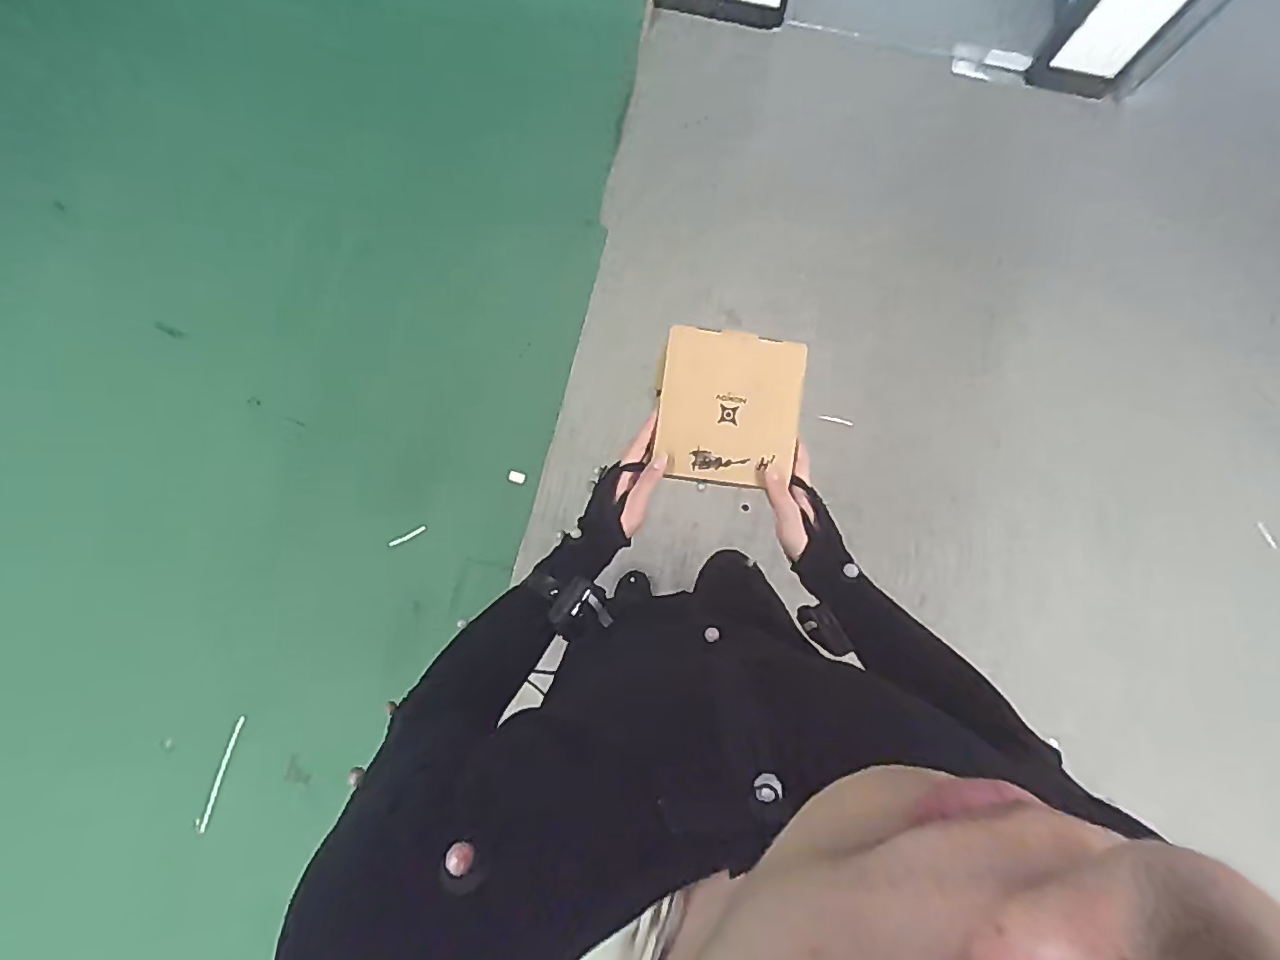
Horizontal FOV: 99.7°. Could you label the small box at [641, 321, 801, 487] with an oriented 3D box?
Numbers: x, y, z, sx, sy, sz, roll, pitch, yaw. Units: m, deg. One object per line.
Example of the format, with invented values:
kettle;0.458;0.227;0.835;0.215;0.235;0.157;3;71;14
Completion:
small box;0.094;-0.089;0.709;0.168;0.176;0.179;8;90;-2
